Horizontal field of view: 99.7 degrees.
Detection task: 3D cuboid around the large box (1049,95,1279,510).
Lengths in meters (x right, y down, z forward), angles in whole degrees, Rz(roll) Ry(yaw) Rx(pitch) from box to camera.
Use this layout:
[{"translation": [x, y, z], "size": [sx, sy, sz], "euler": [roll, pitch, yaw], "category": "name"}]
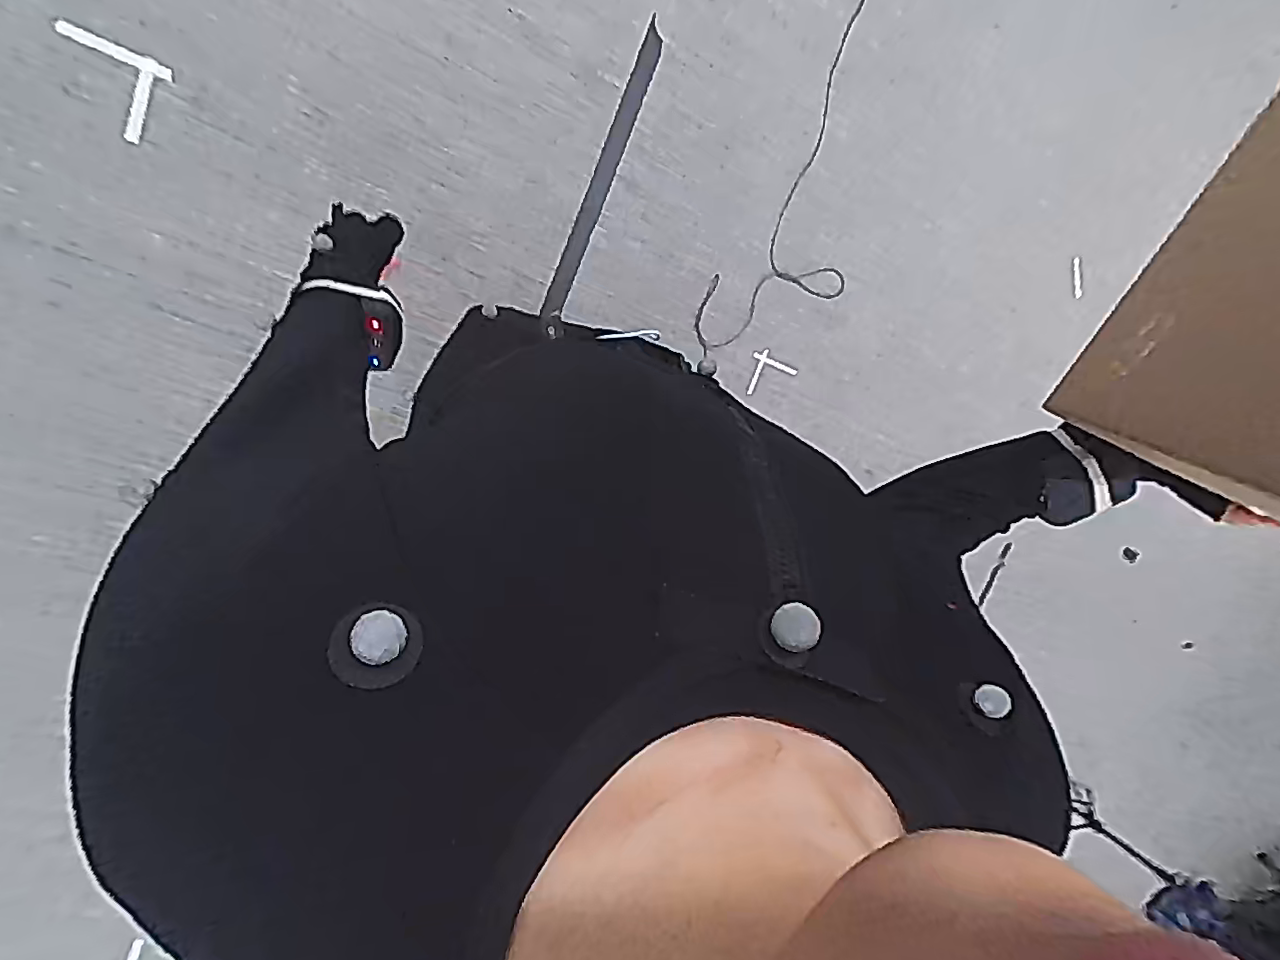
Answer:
[{"translation": [0.484, -0.069, 0.205], "size": [0.320, 0.408, 0.320], "euler": [29, 115, 4], "category": "large box"}]
